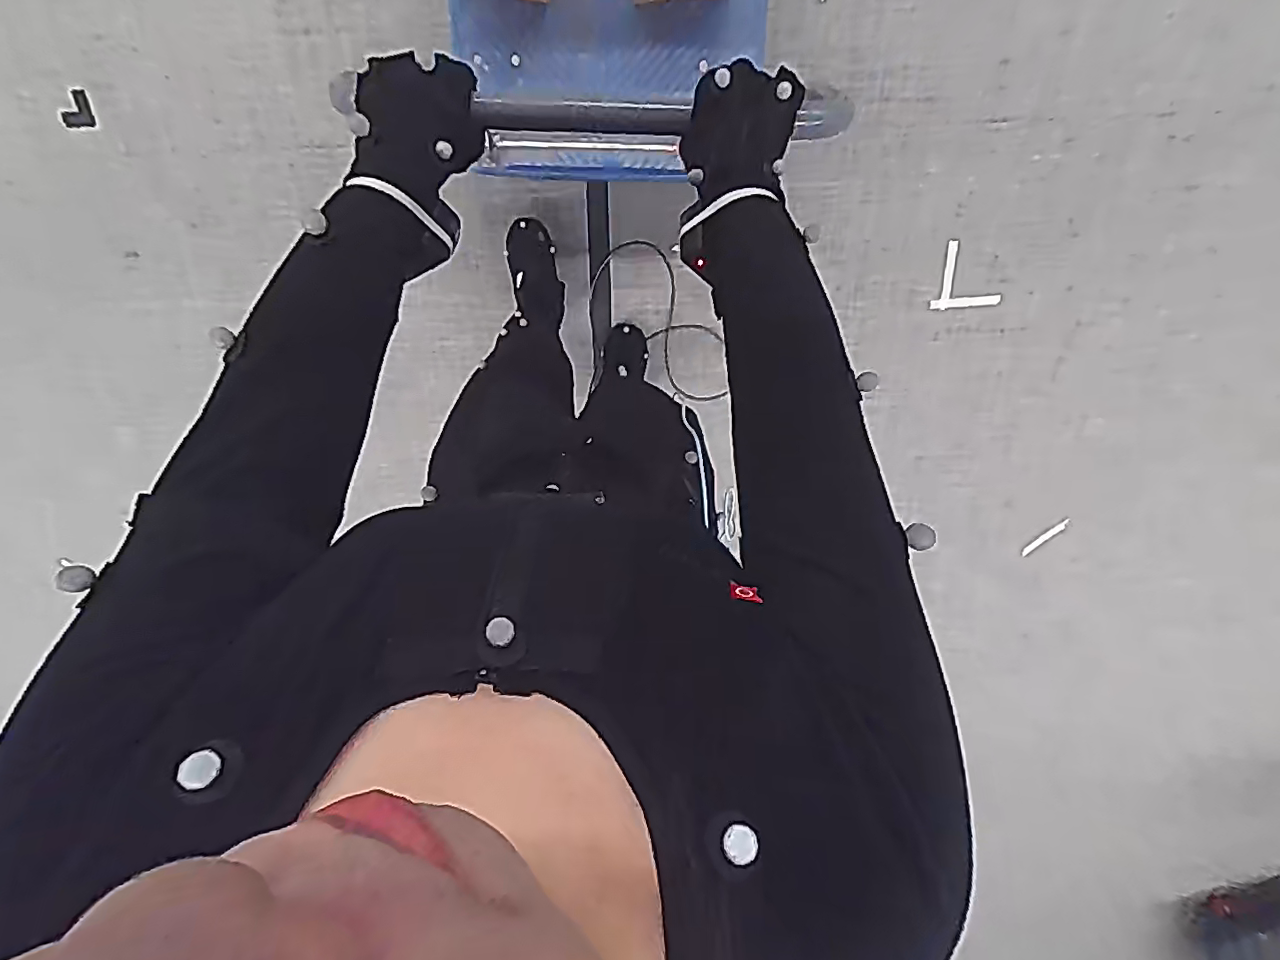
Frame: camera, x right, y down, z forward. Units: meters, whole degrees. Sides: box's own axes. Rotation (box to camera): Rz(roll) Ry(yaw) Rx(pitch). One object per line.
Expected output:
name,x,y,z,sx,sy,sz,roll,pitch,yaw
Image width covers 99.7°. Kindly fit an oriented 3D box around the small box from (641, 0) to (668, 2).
small box,0.072,-0.907,0.870,0.179,0.176,0.168,-4,115,1
